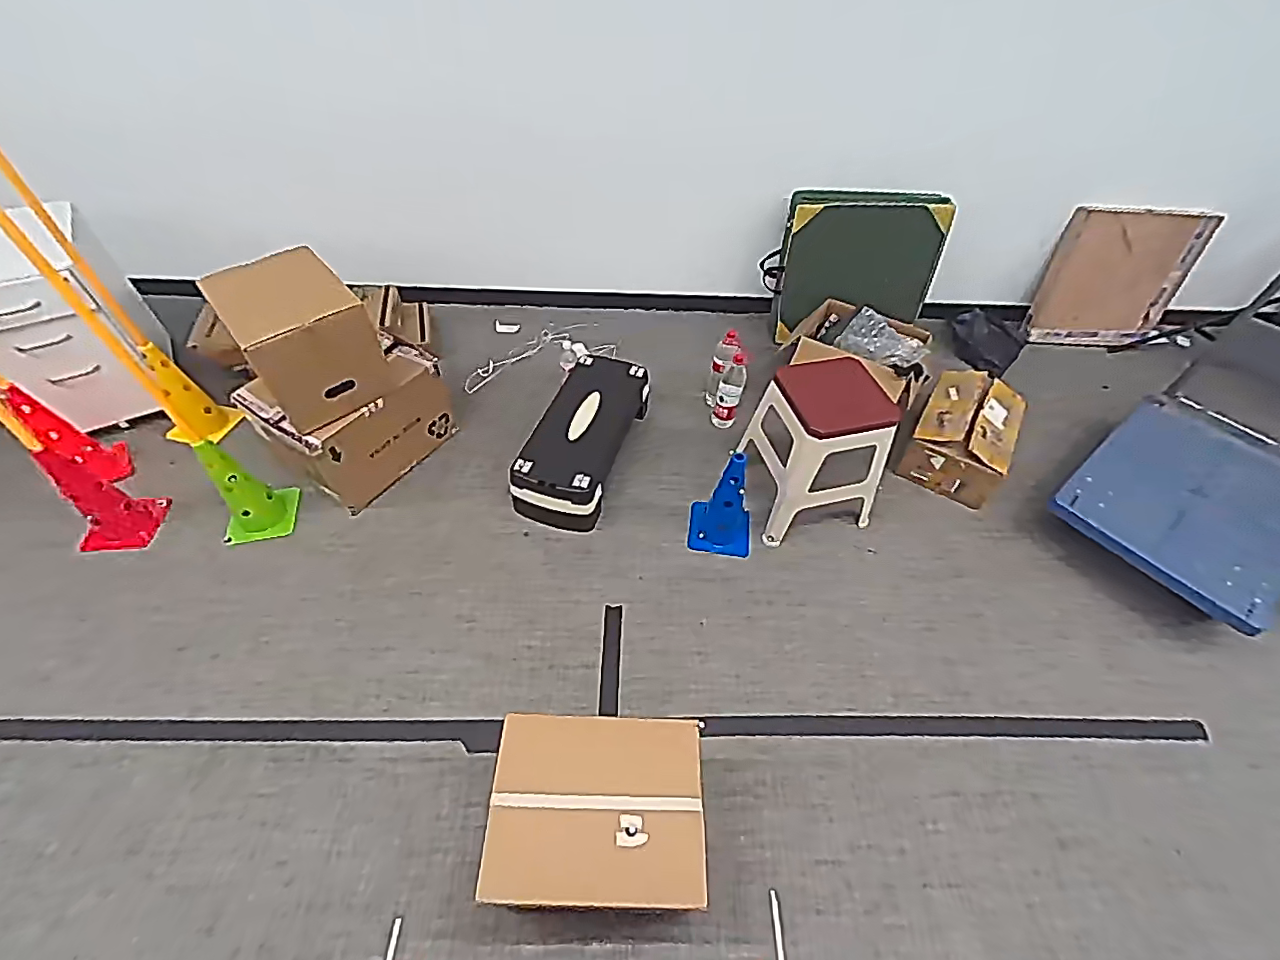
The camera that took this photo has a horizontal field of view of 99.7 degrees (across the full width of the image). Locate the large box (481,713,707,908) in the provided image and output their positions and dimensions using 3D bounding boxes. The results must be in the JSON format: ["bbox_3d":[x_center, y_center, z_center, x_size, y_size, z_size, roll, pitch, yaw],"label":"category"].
[{"bbox_3d":[-0.089,0.708,1.150,0.408,0.320,0.320,3,51,-2],"label":"large box"}]
